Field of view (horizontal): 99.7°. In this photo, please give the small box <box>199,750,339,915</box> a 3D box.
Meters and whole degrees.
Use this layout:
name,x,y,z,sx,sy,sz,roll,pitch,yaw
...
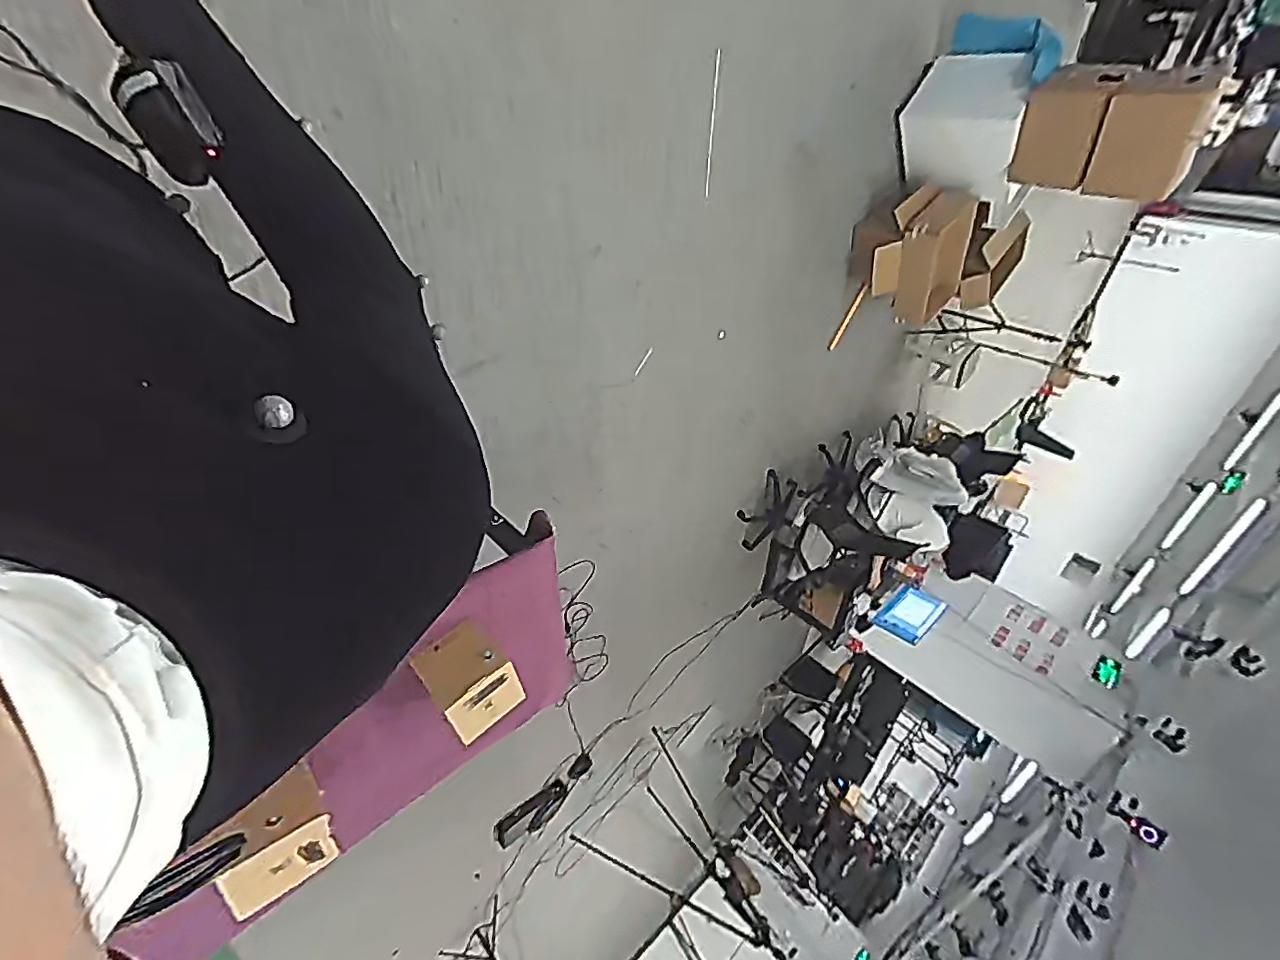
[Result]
name,x,y,z,sx,sy,sz,roll,pitch,yaw
small box,-0.723,0.676,1.058,0.179,0.176,0.168,-20,131,-39
